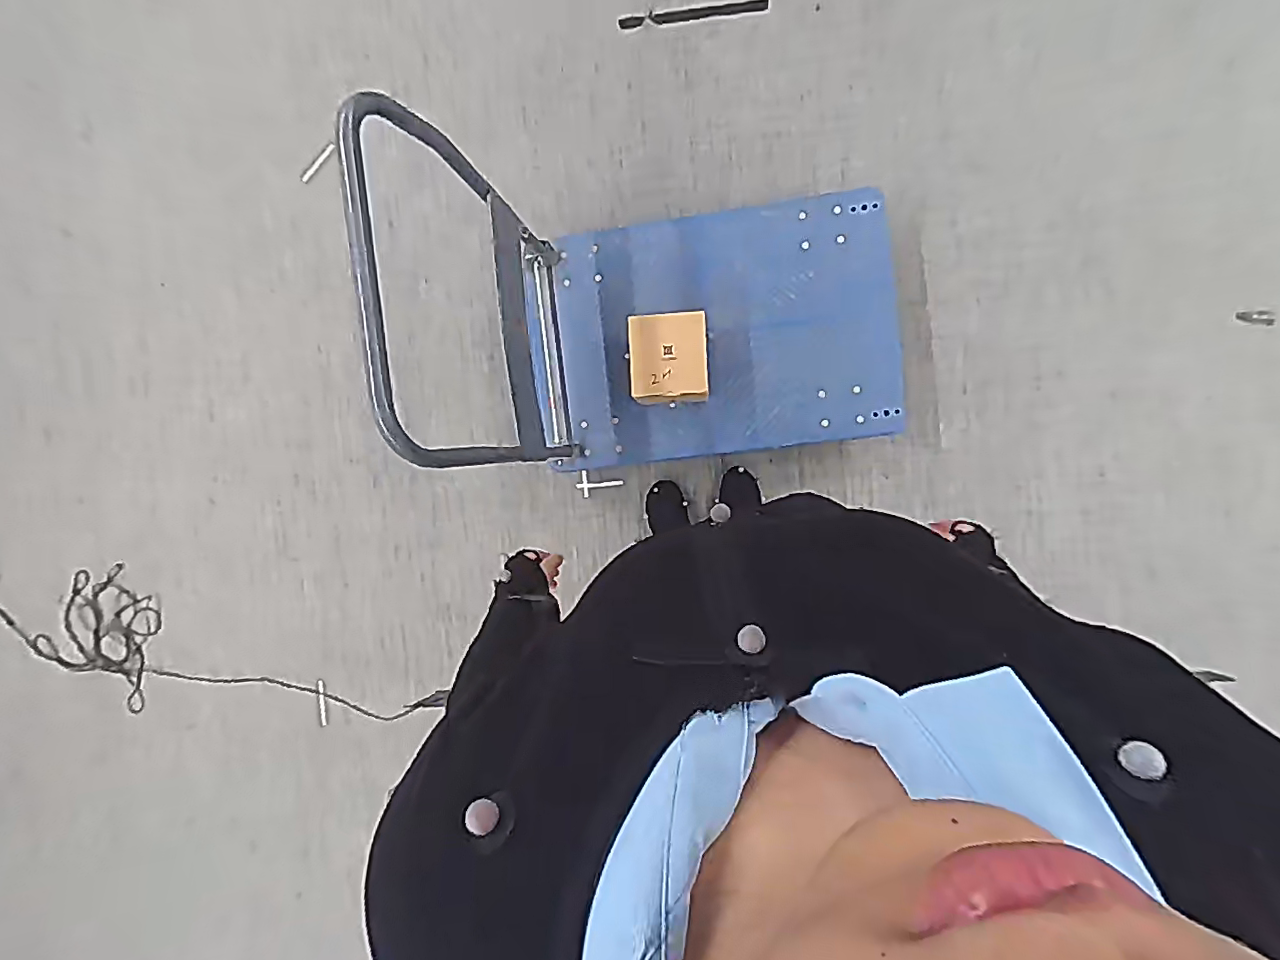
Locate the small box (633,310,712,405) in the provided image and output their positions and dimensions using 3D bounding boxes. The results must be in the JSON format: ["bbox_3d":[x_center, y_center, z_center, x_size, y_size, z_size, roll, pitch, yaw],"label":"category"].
[{"bbox_3d":[0.075,-0.271,1.226,0.168,0.176,0.179,-3,92,7],"label":"small box"}]
